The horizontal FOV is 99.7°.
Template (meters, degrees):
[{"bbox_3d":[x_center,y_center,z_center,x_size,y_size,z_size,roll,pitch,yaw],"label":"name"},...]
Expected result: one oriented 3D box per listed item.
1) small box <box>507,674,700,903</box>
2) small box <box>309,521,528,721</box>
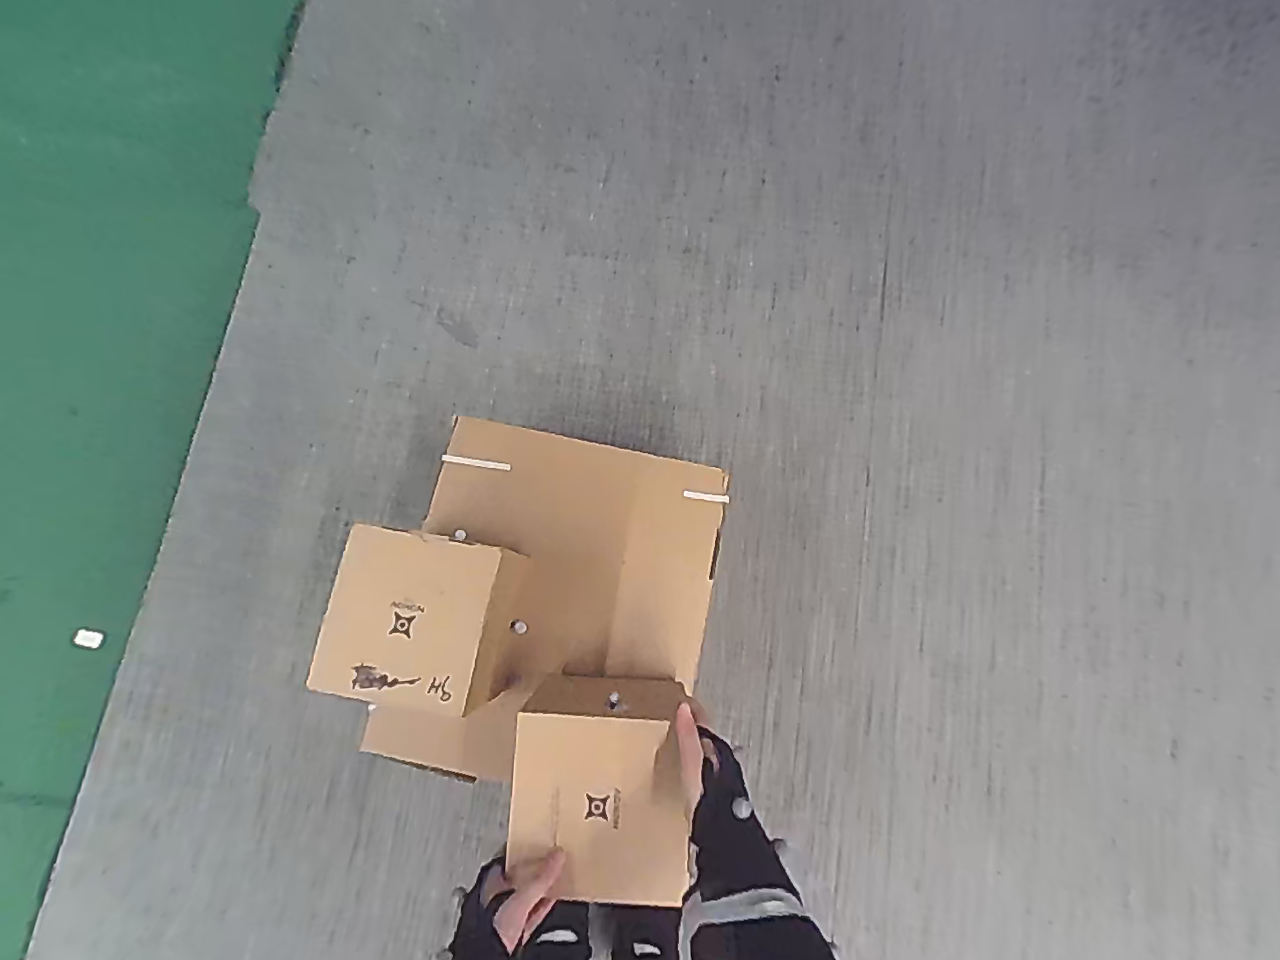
[{"bbox_3d":[-0.034,0.317,0.591,0.179,0.176,0.168,3,83,1],"label":"small box"},{"bbox_3d":[-0.237,0.159,0.634,0.168,0.176,0.179,11,77,2],"label":"small box"}]
